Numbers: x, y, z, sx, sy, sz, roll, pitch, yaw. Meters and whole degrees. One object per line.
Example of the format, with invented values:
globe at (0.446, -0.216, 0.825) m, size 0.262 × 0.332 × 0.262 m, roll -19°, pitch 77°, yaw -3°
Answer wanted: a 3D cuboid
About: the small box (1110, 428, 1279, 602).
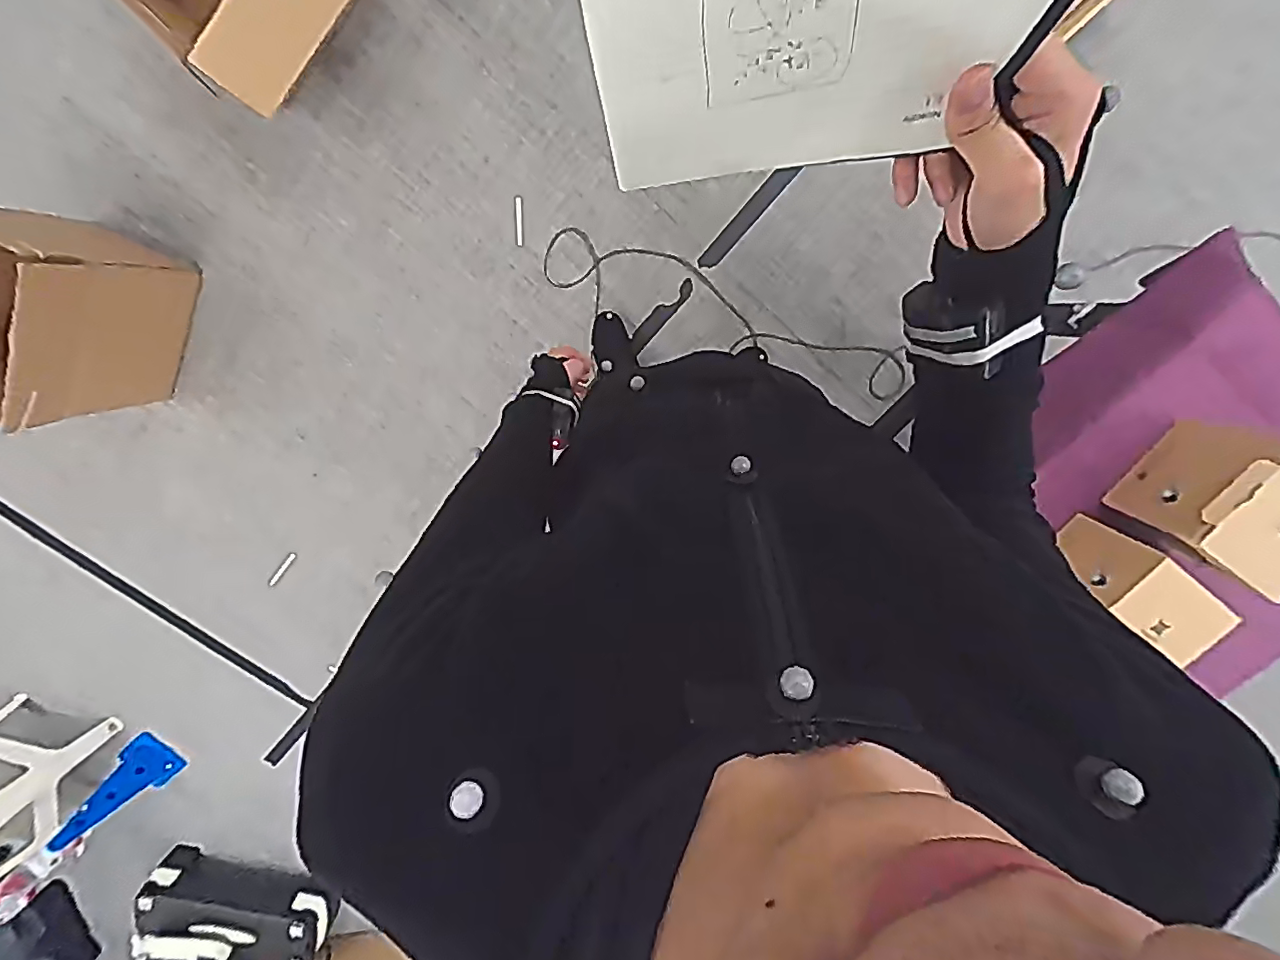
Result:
small box at (0.869, 0.039, 0.798) m, size 0.179 × 0.176 × 0.168 m, roll 32°, pitch 107°, yaw -9°
